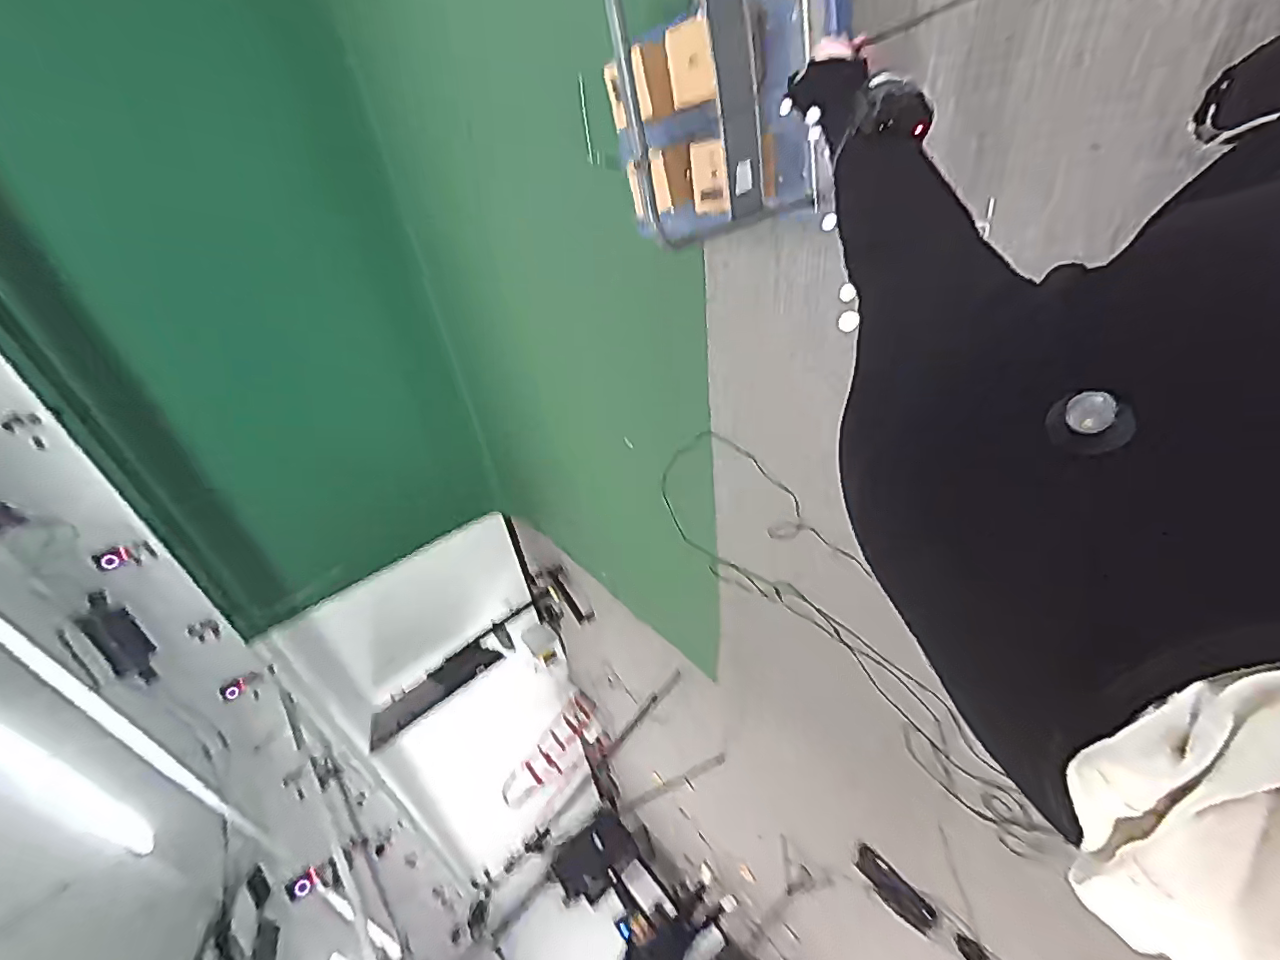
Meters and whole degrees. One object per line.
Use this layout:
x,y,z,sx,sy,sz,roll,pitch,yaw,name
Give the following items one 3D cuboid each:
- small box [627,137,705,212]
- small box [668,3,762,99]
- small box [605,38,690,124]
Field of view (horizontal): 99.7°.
0.092,-0.983,1.741,0.179,0.176,0.168,17,130,49,small box
0.201,-1.135,1.439,0.179,0.176,0.168,22,134,46,small box
0.028,-1.202,1.635,0.179,0.176,0.168,17,131,49,small box
